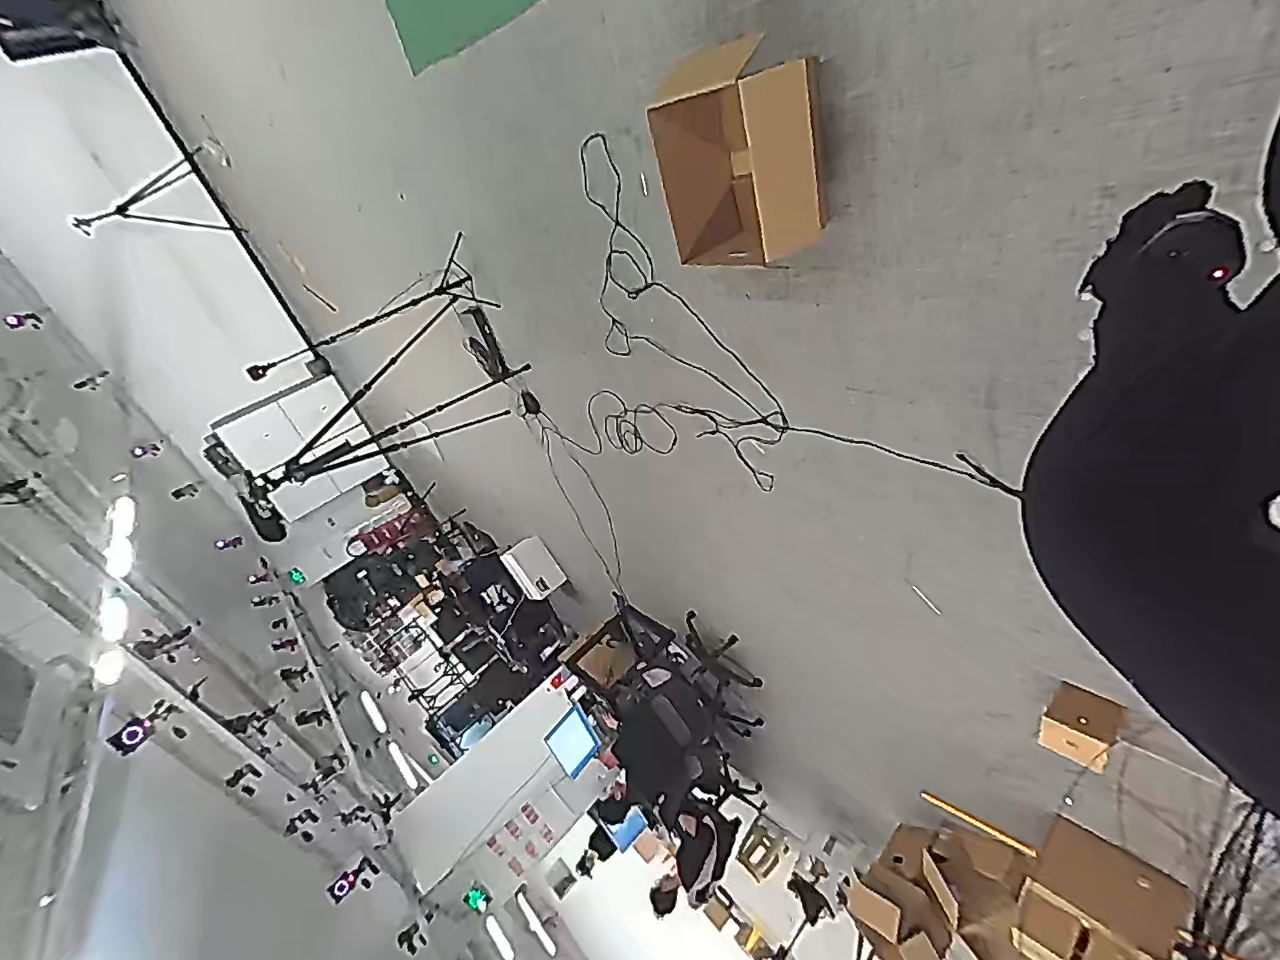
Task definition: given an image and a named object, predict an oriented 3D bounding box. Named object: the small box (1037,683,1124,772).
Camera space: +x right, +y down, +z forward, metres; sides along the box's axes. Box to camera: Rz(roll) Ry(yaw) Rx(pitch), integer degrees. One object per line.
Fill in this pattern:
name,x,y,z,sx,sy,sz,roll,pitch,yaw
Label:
small box,1.443,0.801,1.775,0.179,0.176,0.168,19,137,46
